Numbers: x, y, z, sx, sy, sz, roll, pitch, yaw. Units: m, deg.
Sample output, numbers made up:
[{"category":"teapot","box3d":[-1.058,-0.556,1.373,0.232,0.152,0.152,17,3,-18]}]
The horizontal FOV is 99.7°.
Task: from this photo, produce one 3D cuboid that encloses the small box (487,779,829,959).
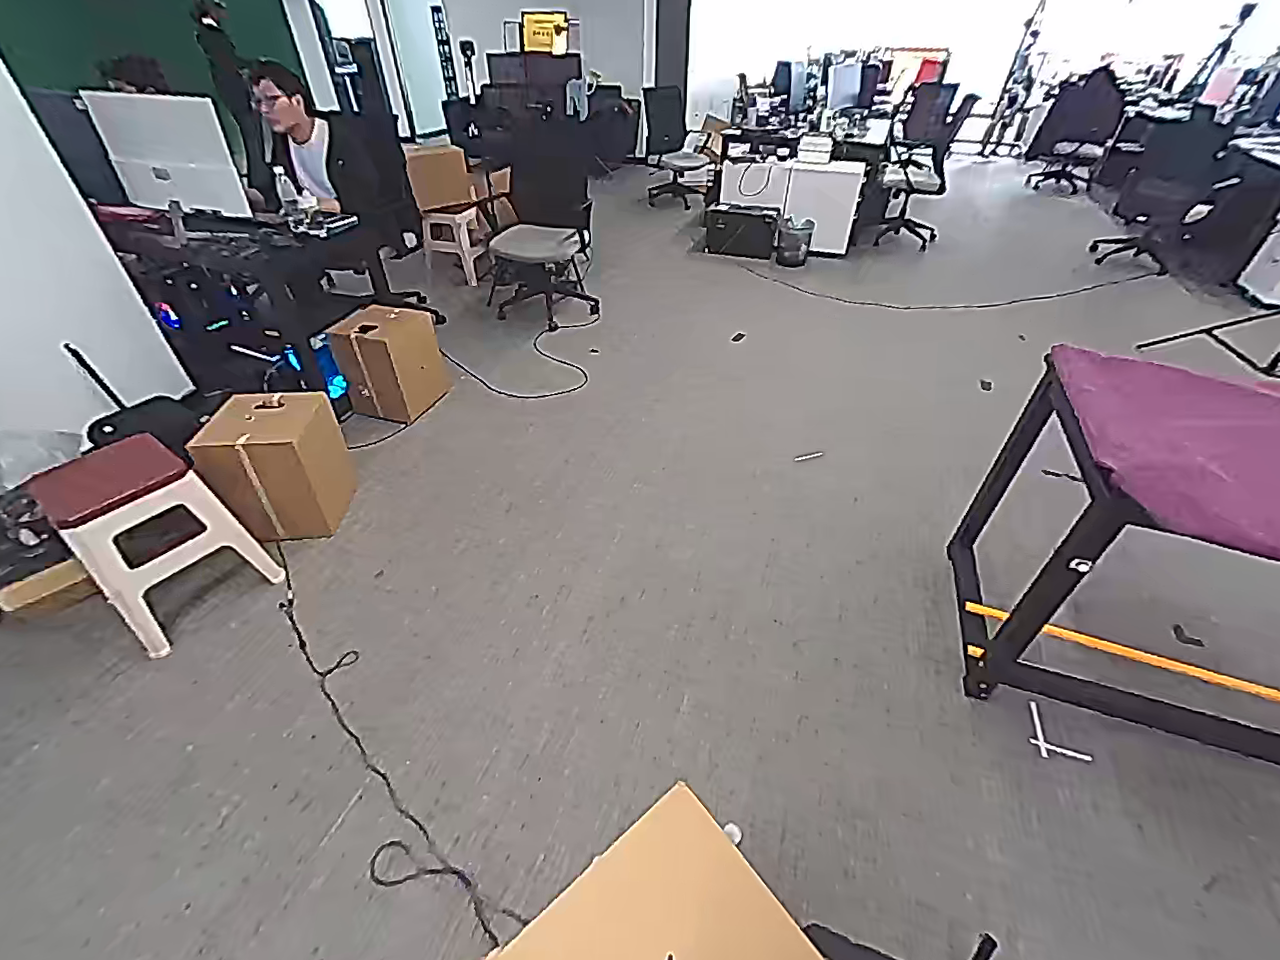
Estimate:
[{"category":"small box","box3d":[0.026,0.350,0.362,0.168,0.176,0.179,-33,54,-23]}]
